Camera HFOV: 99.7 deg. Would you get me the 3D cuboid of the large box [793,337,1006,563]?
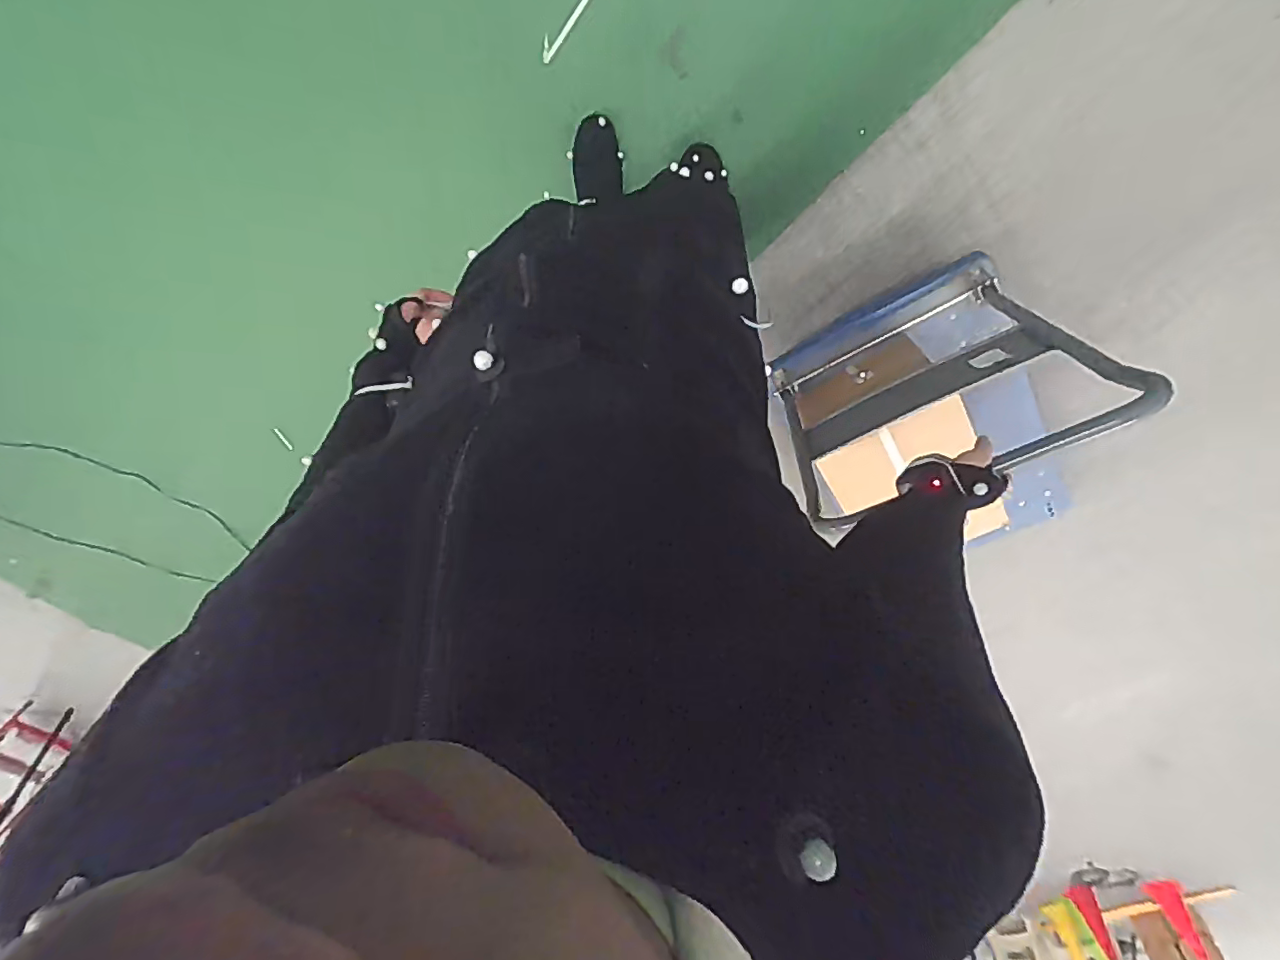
[{"bbox_3d":[0.631,-0.075,1.357,0.320,0.320,0.408,-27,119,23],"label":"large box"}]
